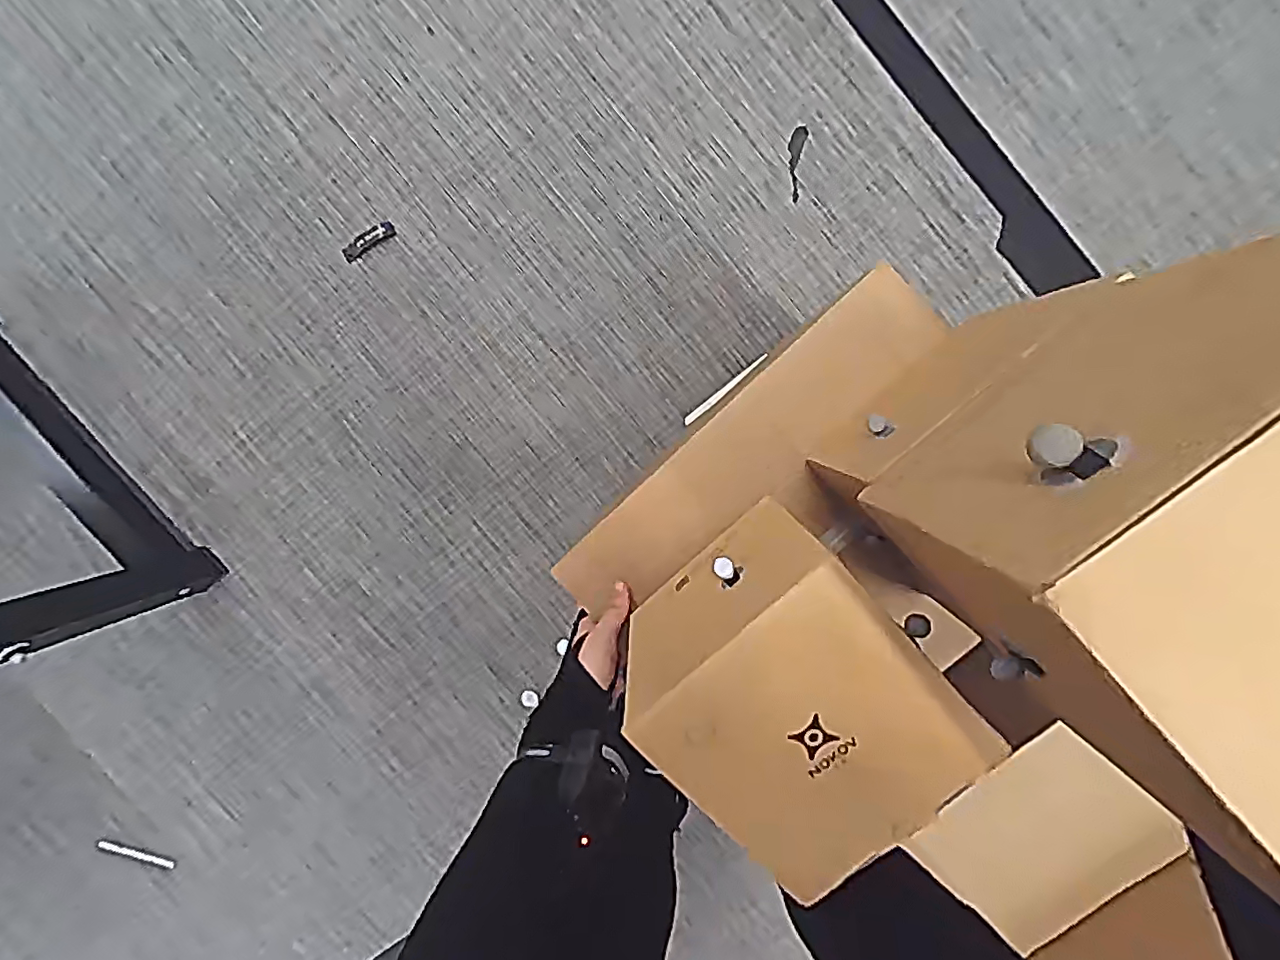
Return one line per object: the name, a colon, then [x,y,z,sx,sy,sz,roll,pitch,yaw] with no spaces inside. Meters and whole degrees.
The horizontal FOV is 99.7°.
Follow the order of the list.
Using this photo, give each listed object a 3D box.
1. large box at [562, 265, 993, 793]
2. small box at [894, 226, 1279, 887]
large box: [0.179,0.040,0.634,0.408,0.320,0.320,-43,91,8]
small box: [0.233,0.019,0.216,0.179,0.176,0.168,-42,92,8]
